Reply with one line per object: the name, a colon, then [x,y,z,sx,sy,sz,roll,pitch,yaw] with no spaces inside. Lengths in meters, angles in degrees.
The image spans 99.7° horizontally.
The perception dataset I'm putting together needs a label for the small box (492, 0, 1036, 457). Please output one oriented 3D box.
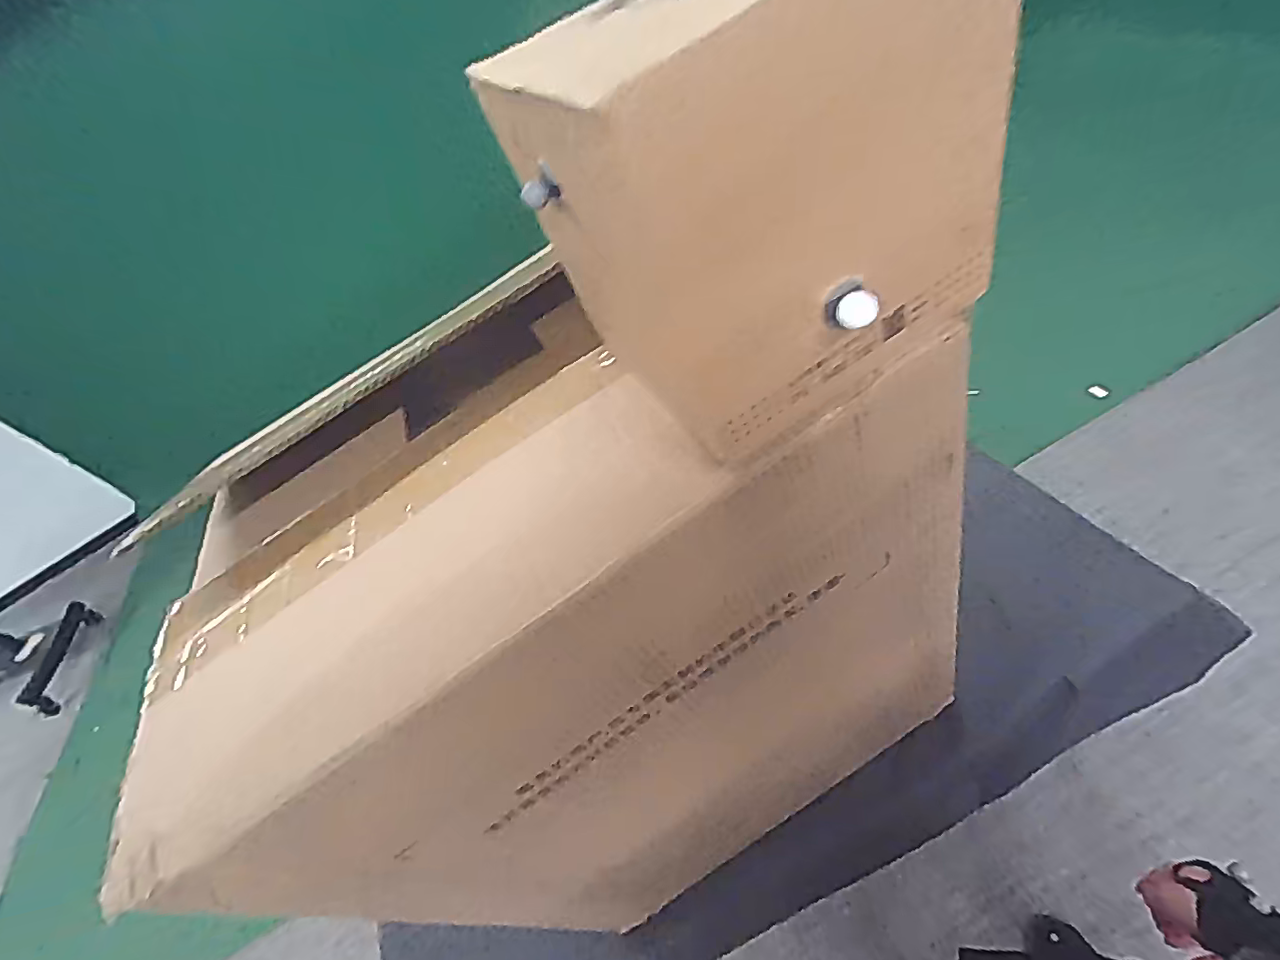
small box: [0.053,-0.144,0.280,0.168,0.176,0.179,-33,46,-2]
